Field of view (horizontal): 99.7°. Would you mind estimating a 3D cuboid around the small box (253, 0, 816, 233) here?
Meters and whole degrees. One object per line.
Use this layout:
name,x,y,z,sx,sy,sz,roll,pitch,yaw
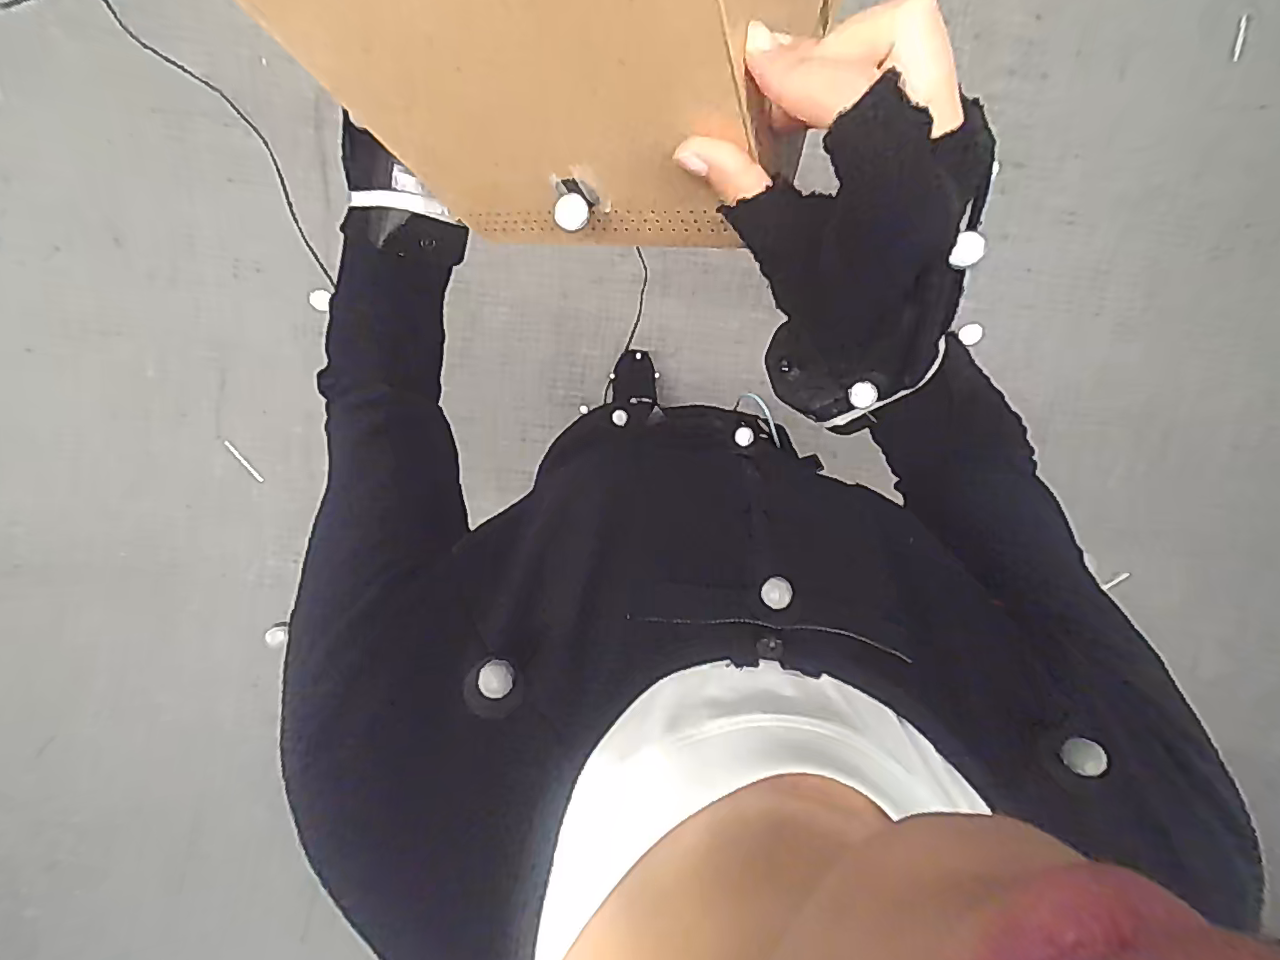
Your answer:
small box,-0.025,-0.227,0.228,0.179,0.176,0.168,12,83,24
